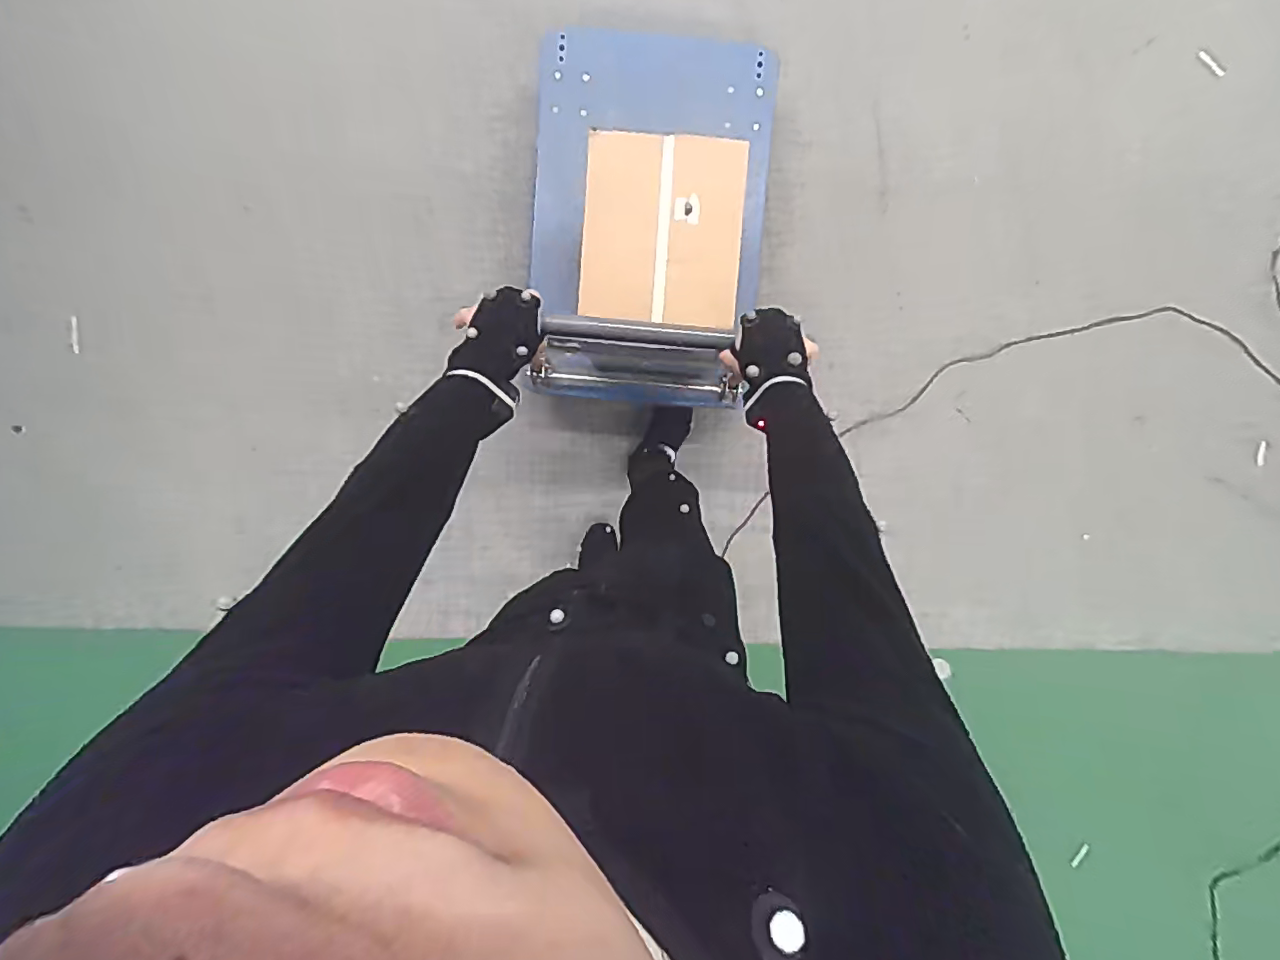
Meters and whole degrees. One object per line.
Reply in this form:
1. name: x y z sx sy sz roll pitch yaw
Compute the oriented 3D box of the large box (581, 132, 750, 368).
1. large box: 0.050 -0.473 1.198 0.320 0.320 0.408 4 95 -1
